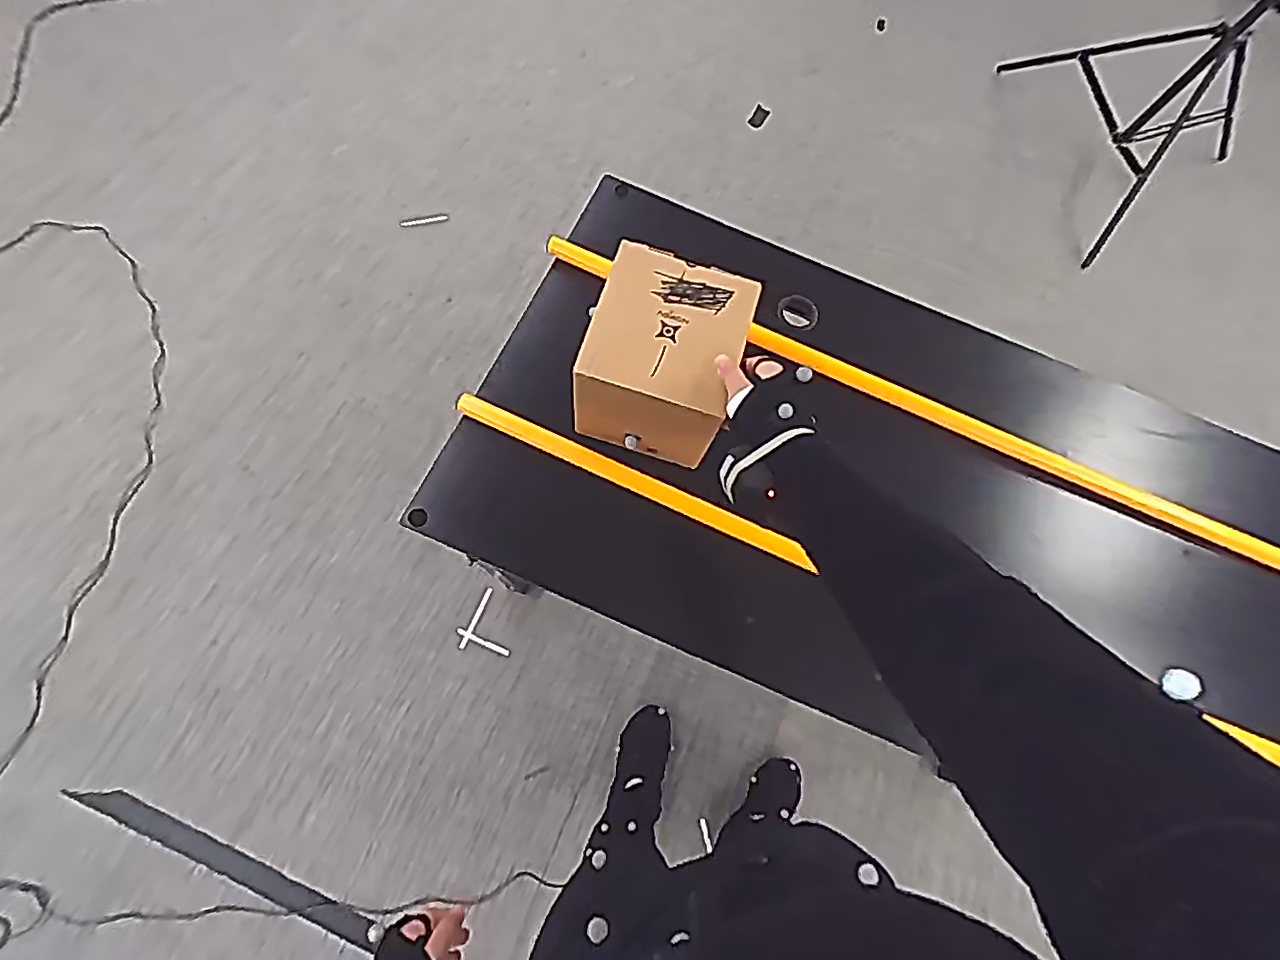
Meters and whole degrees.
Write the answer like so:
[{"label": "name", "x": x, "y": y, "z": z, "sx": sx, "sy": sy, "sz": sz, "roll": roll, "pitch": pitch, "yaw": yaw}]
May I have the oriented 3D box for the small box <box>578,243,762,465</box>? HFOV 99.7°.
[{"label": "small box", "x": 0.028, "y": -0.141, "z": 0.655, "sx": 0.168, "sy": 0.176, "sz": 0.179, "roll": 18, "pitch": 73, "yaw": 1}]
